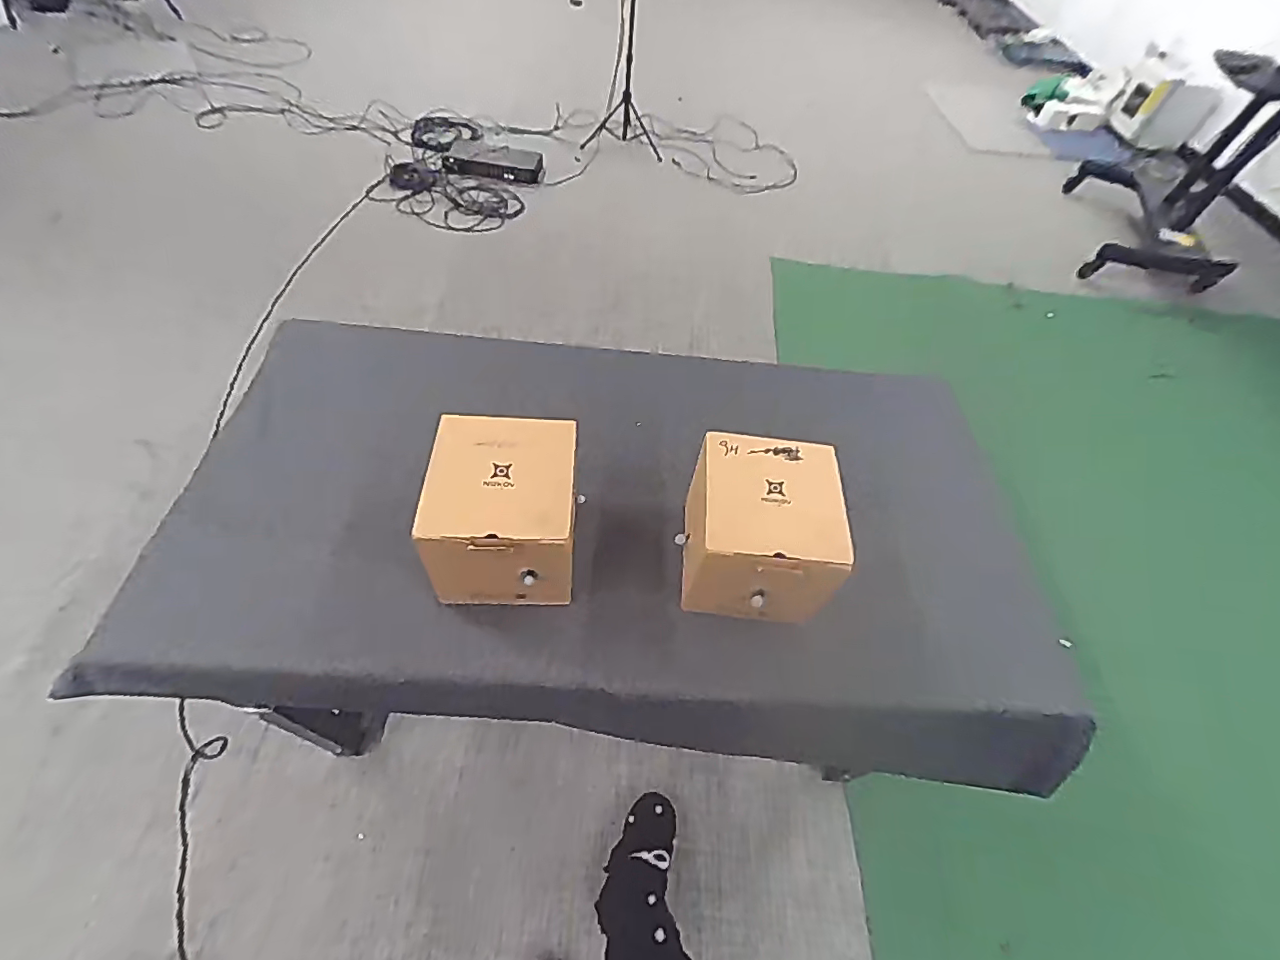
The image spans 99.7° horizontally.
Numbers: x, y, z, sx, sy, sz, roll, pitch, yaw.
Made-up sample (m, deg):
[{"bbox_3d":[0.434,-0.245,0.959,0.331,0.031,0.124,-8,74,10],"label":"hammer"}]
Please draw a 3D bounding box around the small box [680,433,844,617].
[{"bbox_3d":[0.147,0.065,0.709,0.168,0.176,0.179,7,54,-2],"label":"small box"}]

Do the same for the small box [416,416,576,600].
[{"bbox_3d":[-0.168,0.042,0.689,0.168,0.176,0.179,3,52,-7],"label":"small box"}]
